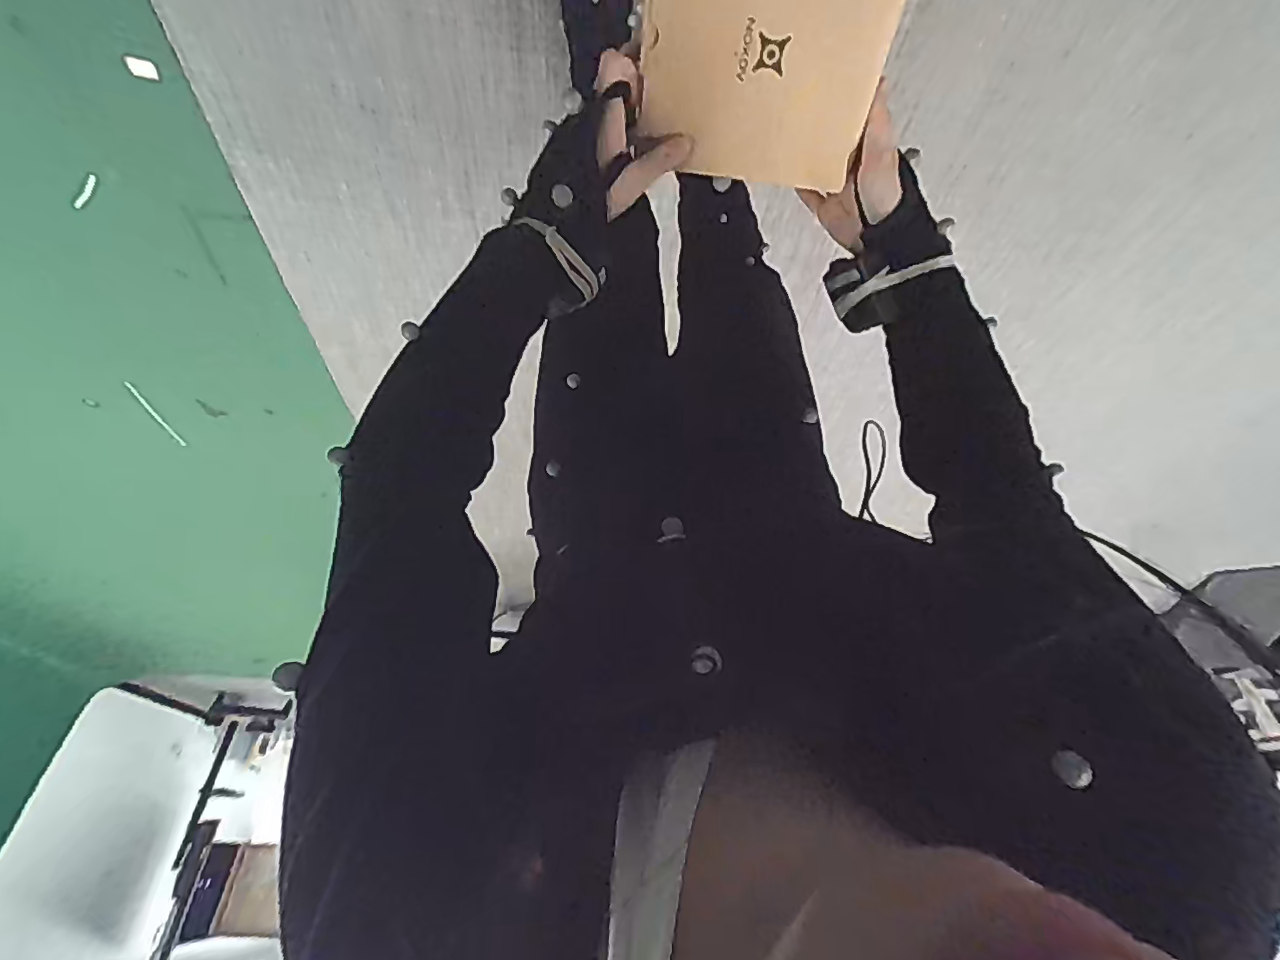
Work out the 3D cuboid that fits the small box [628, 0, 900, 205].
[{"bbox_3d":[0.089,-0.355,0.455,0.179,0.176,0.168,7,134,-1],"label":"small box"}]
